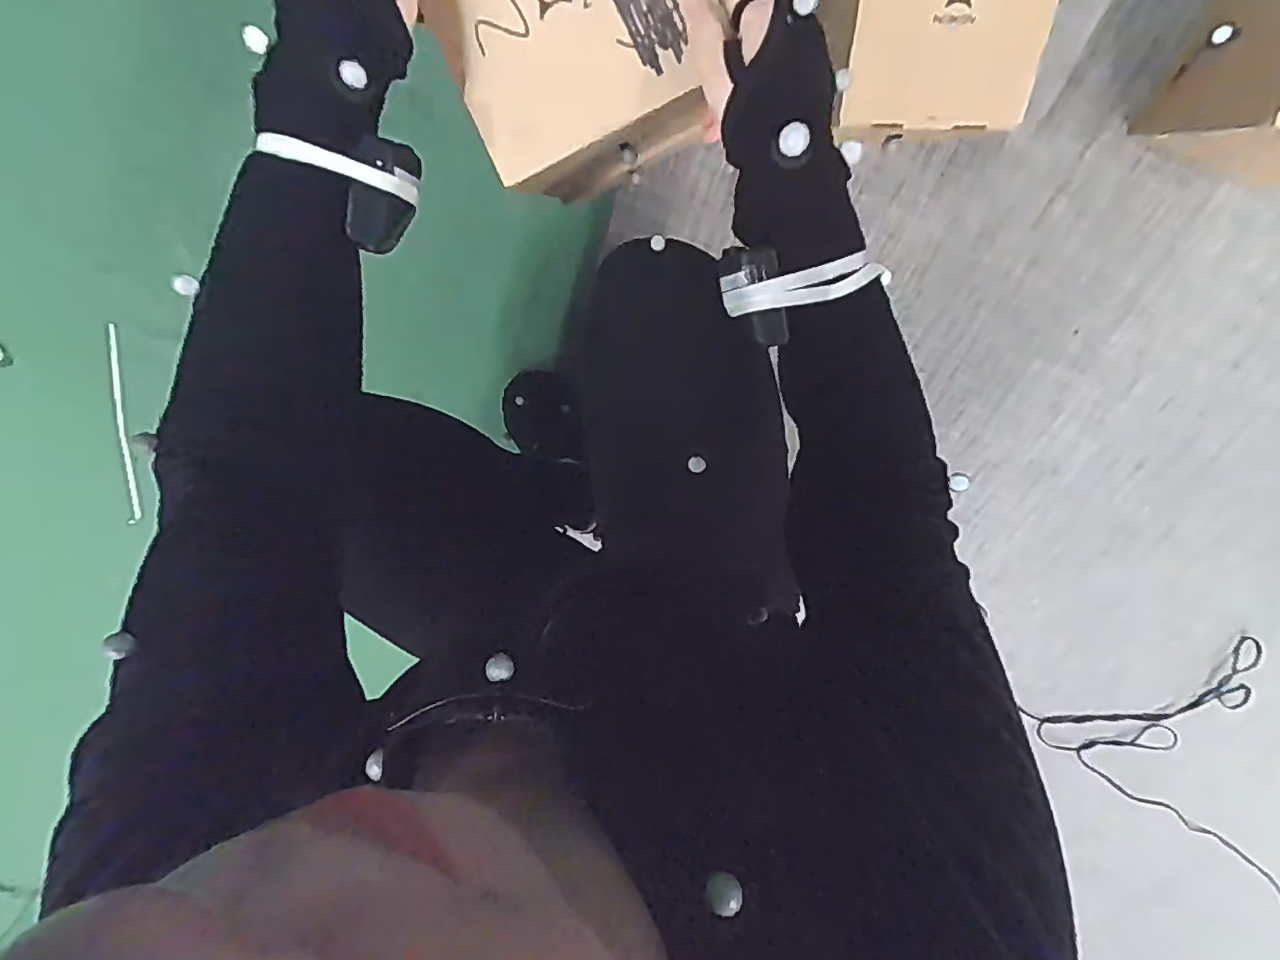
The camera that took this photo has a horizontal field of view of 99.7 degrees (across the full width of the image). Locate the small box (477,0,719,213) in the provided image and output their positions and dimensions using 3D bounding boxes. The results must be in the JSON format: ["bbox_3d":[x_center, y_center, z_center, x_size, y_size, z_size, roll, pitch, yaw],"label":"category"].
[{"bbox_3d":[-0.031,-0.396,0.562,0.179,0.176,0.168,-21,114,13],"label":"small box"}]

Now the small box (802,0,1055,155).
[{"bbox_3d":[0.266,-0.424,0.531,0.168,0.176,0.179,3,120,1],"label":"small box"}]
